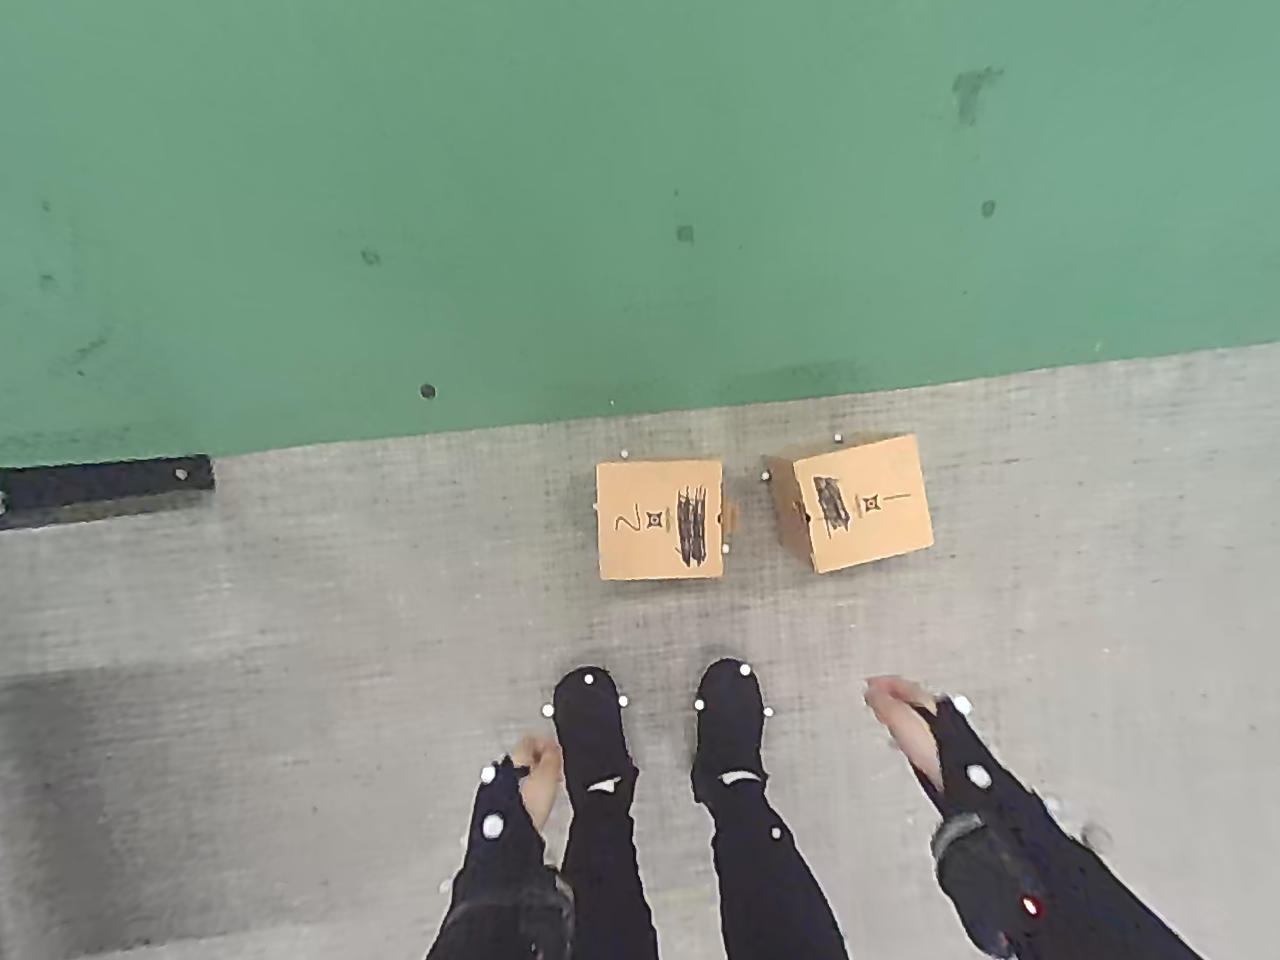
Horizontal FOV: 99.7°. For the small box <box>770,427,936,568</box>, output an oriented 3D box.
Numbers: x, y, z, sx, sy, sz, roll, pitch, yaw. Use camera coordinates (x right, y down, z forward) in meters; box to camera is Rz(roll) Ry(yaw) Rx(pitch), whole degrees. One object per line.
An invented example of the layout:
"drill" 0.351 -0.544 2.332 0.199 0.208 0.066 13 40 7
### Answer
"small box" 0.307 0.019 0.819 0.179 0.176 0.168 -13 97 -1
